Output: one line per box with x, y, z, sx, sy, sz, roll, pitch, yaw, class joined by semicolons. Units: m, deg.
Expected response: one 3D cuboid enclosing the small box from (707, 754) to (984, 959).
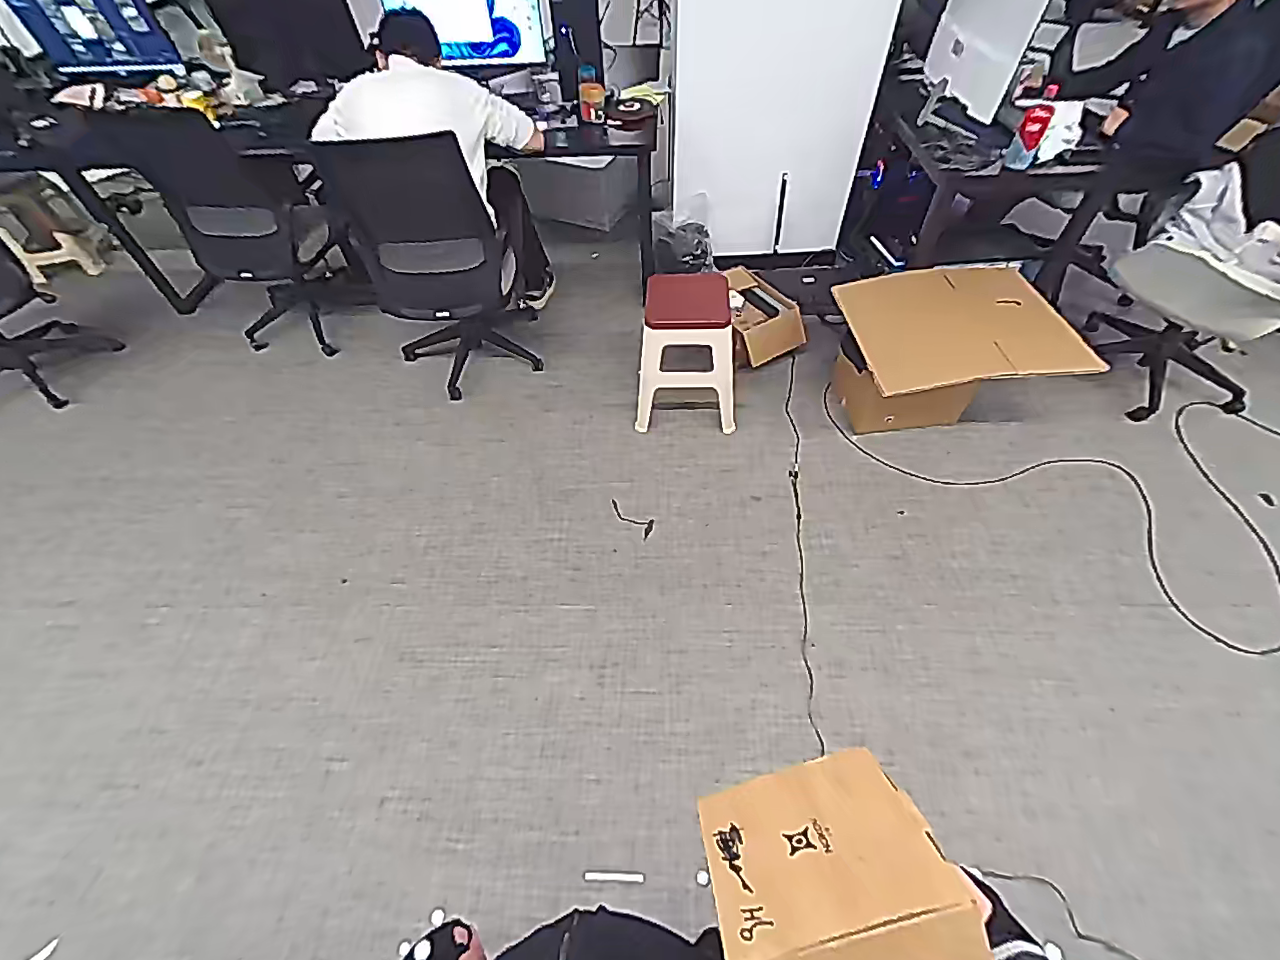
0.172;0.382;0.466;0.179;0.168;0.176;-18;97;1;small box
